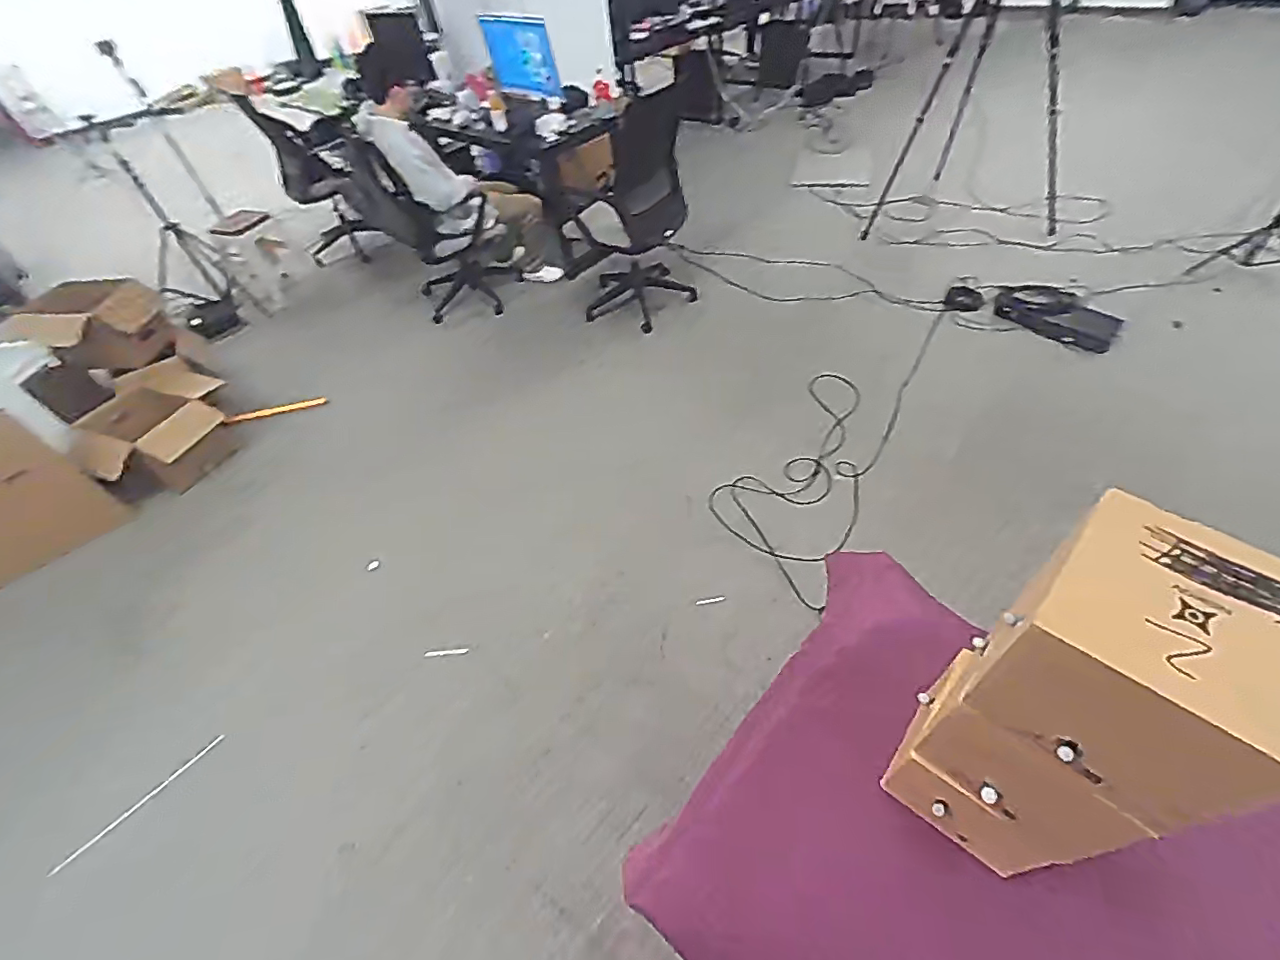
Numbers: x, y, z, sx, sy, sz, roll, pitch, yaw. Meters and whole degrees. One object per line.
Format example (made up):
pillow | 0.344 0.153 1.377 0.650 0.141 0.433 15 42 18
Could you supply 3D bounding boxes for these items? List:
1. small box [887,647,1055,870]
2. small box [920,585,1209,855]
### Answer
small box | 0.444 0.363 0.703 0.168 0.176 0.179 30 58 30
small box | 0.433 0.255 0.579 0.179 0.176 0.168 -39 54 -24
